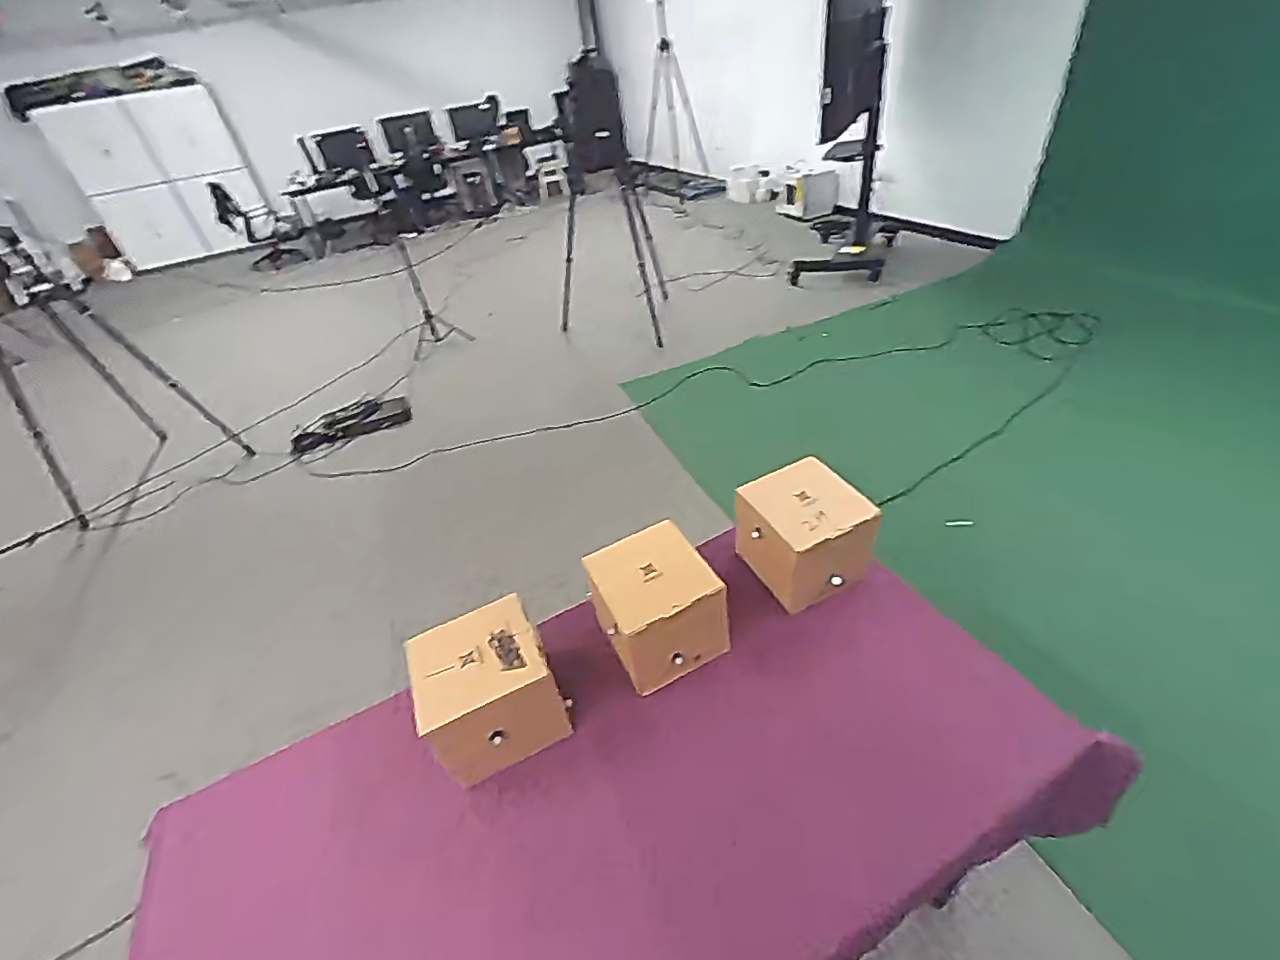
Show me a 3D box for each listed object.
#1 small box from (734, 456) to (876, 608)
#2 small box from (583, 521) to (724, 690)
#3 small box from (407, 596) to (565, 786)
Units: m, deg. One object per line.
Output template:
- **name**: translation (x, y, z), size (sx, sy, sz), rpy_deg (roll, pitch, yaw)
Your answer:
- **small box**: translation (0.281, 0.092, 0.959), size (0.168, 0.176, 0.179), rpy_deg (-23, 43, -13)
- **small box**: translation (0.024, 0.205, 0.892), size (0.168, 0.176, 0.179), rpy_deg (-24, 42, -16)
- **small box**: translation (-0.223, 0.315, 0.812), size (0.179, 0.176, 0.168), rpy_deg (-24, 41, -14)
